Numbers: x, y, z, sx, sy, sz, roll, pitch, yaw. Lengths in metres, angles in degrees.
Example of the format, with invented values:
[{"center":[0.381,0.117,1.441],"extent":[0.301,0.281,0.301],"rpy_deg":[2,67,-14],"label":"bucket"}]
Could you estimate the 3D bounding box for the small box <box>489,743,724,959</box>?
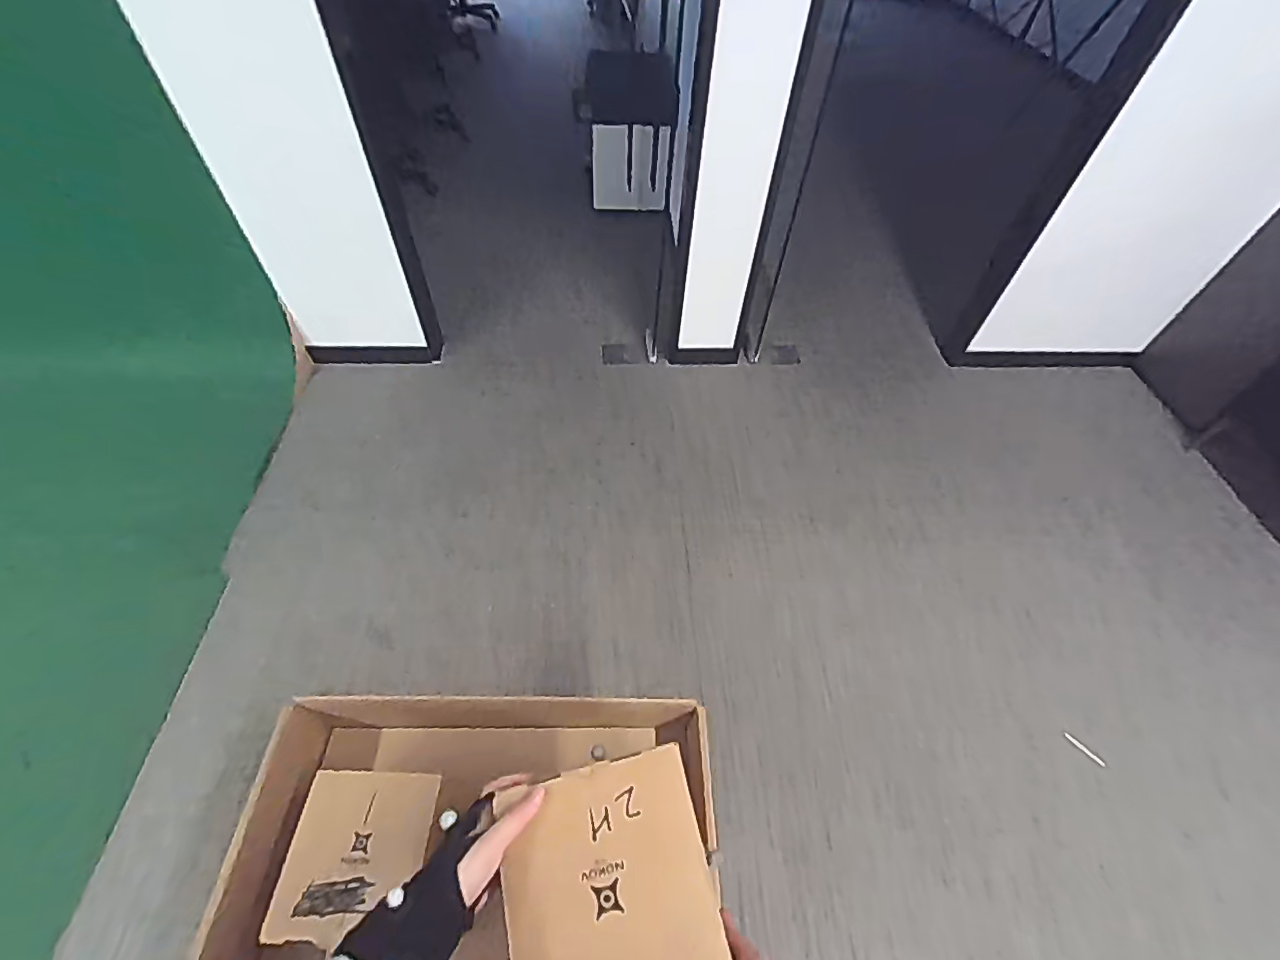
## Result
[{"center":[-0.025,0.357,0.500],"extent":[0.168,0.176,0.179],"rpy_deg":[-14,64,-4],"label":"small box"}]
